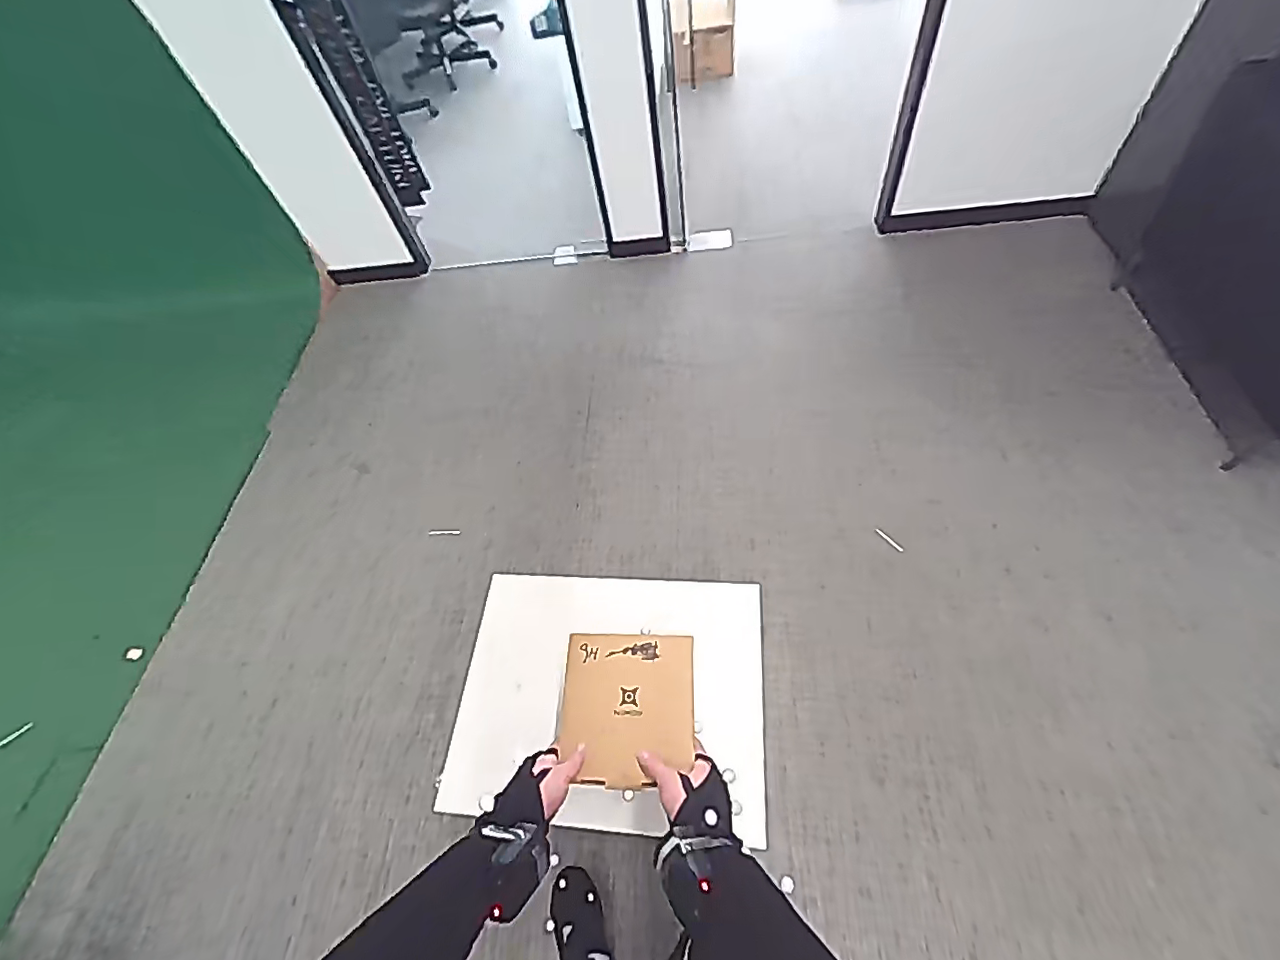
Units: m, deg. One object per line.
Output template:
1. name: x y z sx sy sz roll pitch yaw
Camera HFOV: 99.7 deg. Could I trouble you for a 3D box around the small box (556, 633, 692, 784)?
1. small box: -0.013 0.319 0.744 0.168 0.176 0.179 -1 59 2
